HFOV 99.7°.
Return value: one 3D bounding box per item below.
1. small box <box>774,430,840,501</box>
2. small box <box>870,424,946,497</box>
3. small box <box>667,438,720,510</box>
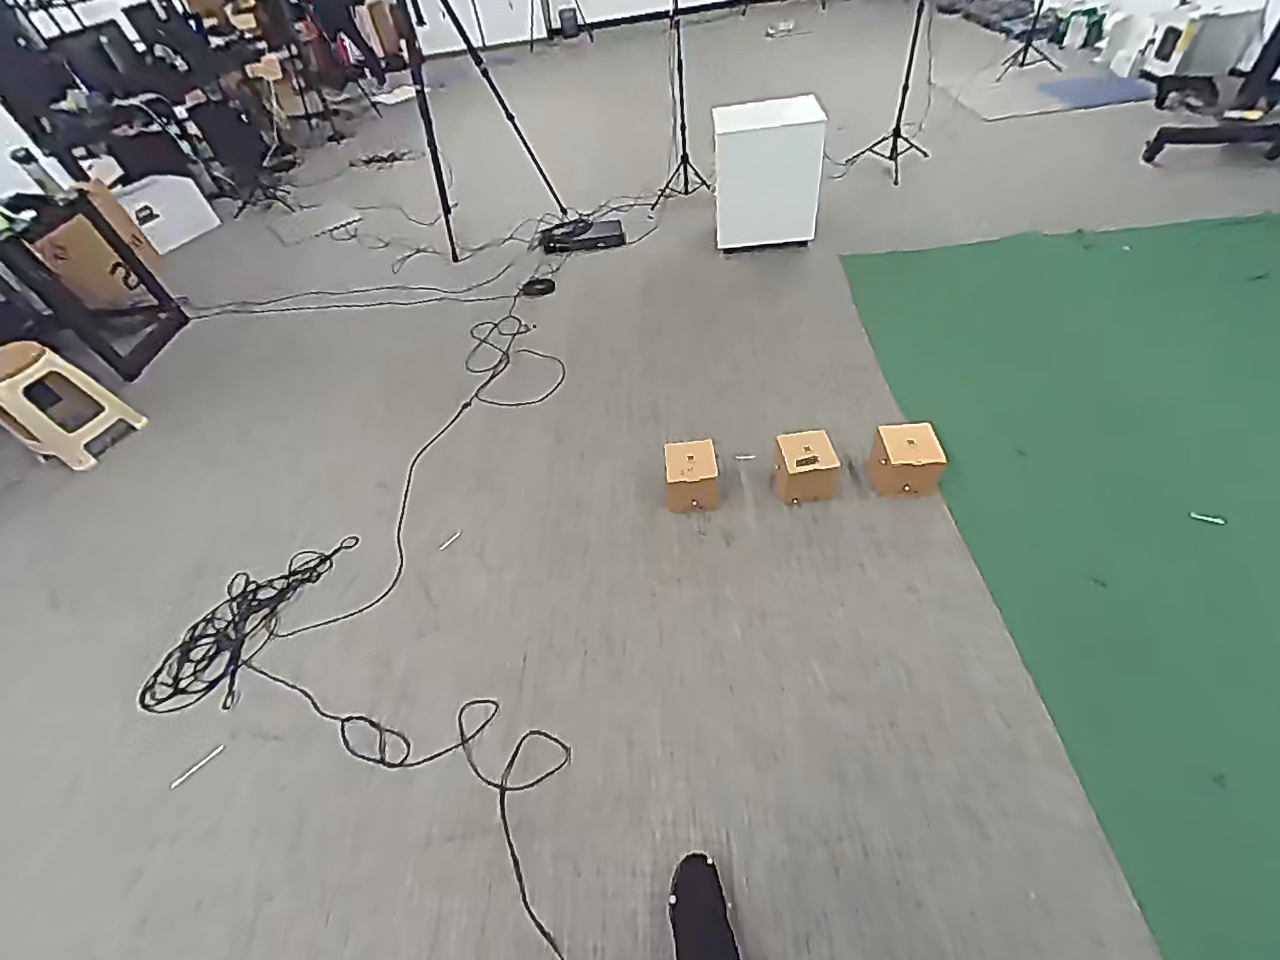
[{"bbox_3d":[0.556,-0.042,1.818,0.168,0.176,0.179,-7,48,2],"label":"small box"},{"bbox_3d":[0.878,-0.062,1.791,0.168,0.176,0.179,-3,49,6],"label":"small box"},{"bbox_3d":[0.183,-0.018,1.849,0.168,0.176,0.179,-6,49,5],"label":"small box"}]
